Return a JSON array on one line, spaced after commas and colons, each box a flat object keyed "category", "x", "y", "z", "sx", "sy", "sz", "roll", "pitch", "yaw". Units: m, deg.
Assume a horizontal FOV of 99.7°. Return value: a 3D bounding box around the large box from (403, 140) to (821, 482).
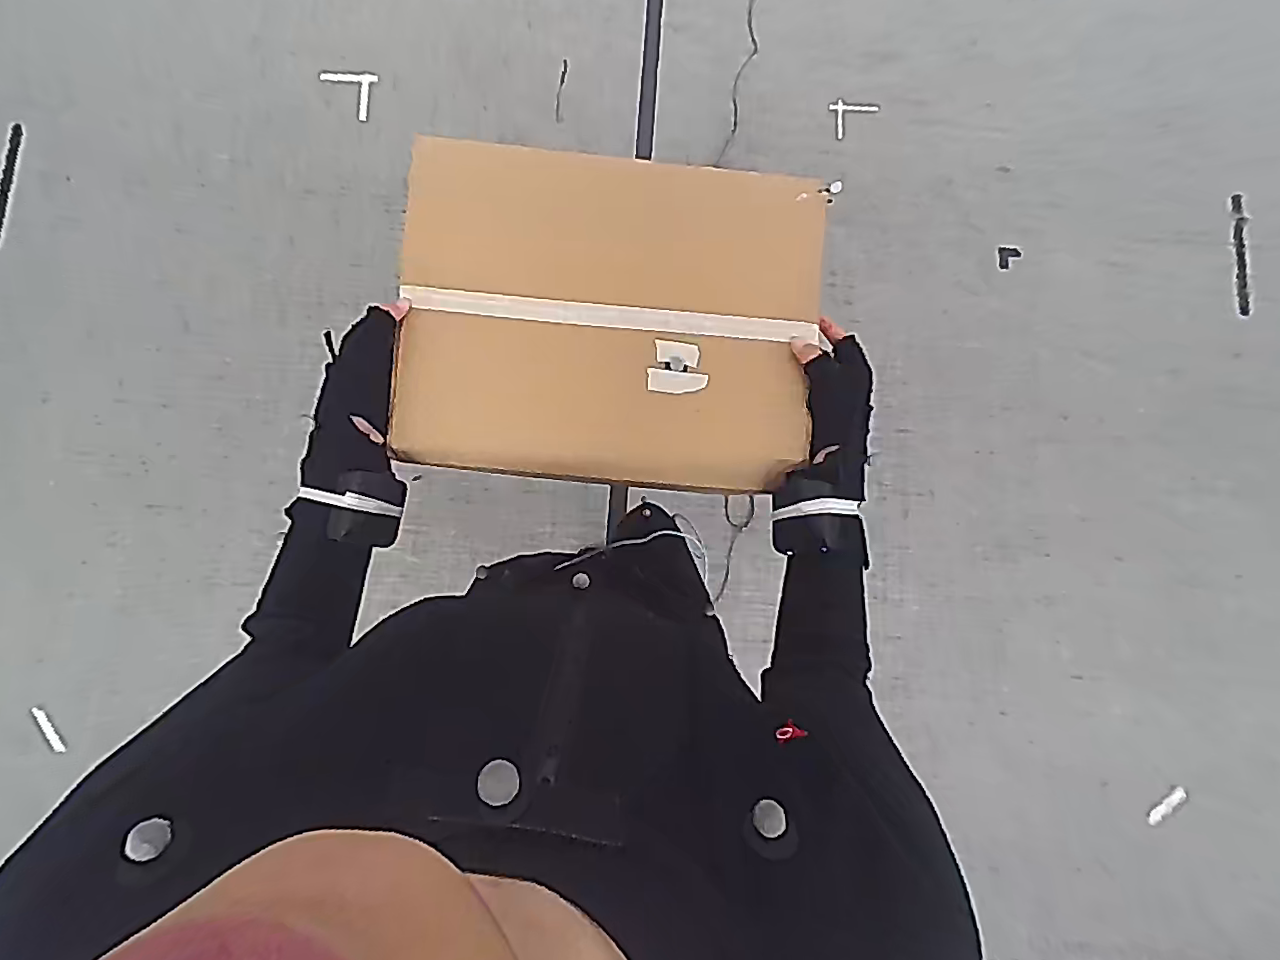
[{"category": "large box", "x": -0.032, "y": -0.167, "z": 0.687, "sx": 0.408, "sy": 0.320, "sz": 0.320, "roll": 5, "pitch": 90, "yaw": -3}]
